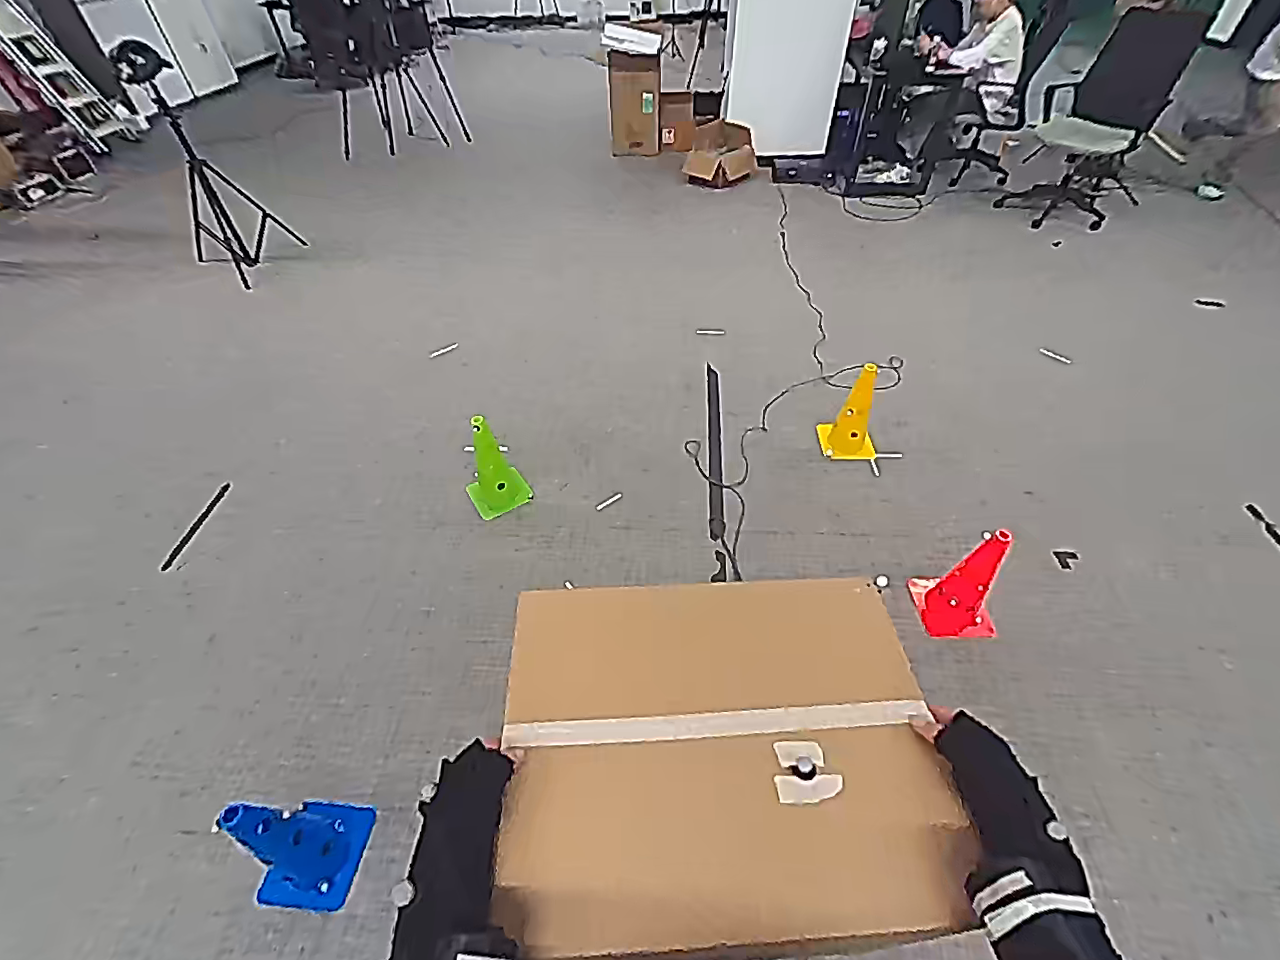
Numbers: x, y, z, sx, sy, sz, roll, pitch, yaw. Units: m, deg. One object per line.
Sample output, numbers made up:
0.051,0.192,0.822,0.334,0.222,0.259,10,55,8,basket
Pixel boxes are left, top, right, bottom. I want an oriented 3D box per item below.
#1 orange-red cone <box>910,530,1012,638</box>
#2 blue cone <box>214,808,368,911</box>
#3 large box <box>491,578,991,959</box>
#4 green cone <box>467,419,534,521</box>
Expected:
0.934,0.262,1.508,0.198,0.360,0.199,0,45,1,orange-red cone
-0.743,0.751,1.120,0.192,0.380,0.193,3,46,6,blue cone
0.070,0.336,0.624,0.408,0.320,0.320,-2,46,-3,large box
-0.523,-0.068,1.870,0.202,0.368,0.200,-28,51,-21,green cone
